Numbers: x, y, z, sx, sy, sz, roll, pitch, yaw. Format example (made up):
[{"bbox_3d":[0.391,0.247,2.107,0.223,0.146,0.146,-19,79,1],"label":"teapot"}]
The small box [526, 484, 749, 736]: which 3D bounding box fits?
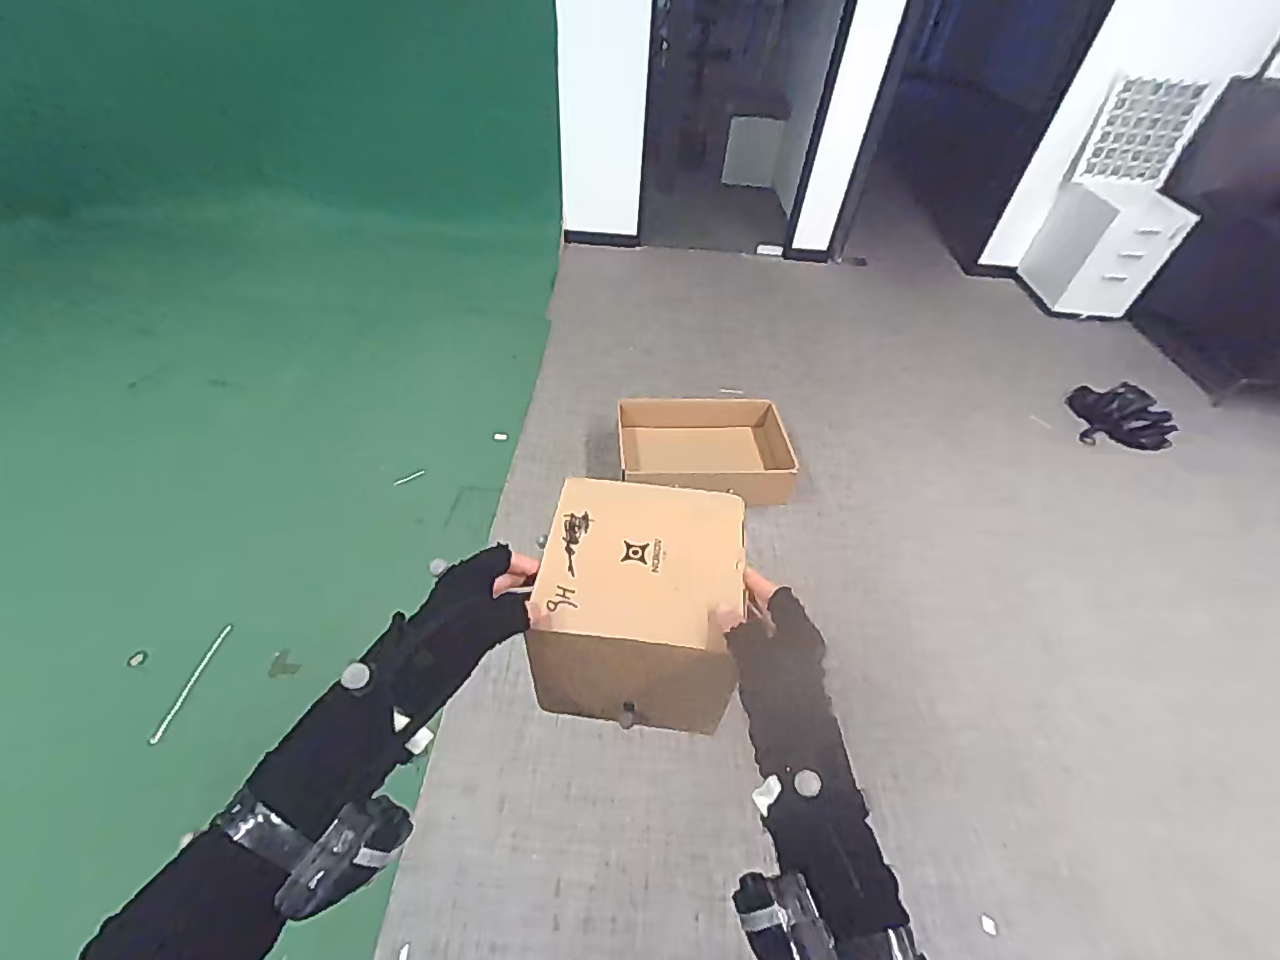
[{"bbox_3d":[0.001,0.129,0.526,0.179,0.176,0.168,8,44,2],"label":"small box"}]
